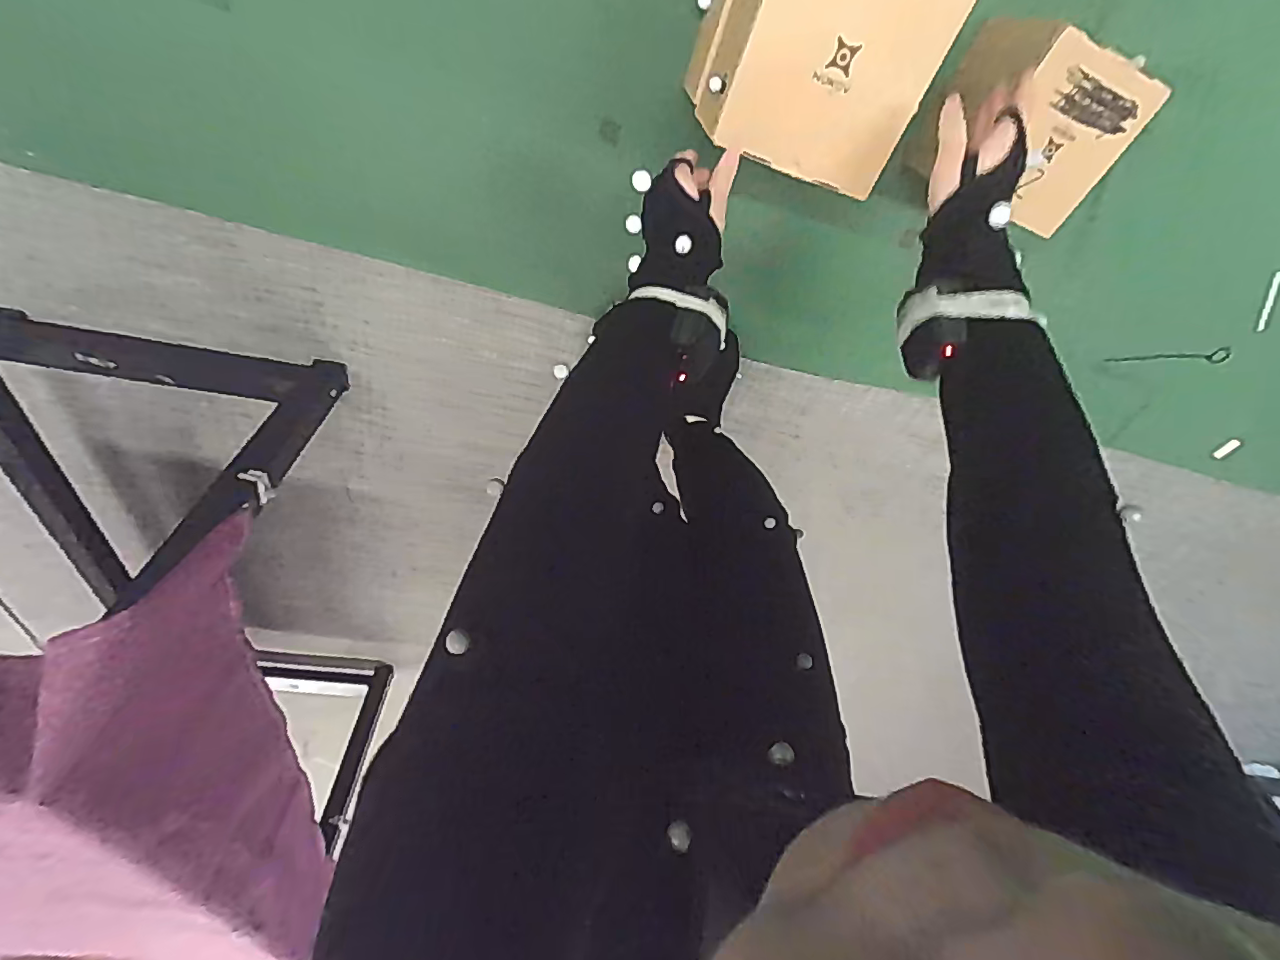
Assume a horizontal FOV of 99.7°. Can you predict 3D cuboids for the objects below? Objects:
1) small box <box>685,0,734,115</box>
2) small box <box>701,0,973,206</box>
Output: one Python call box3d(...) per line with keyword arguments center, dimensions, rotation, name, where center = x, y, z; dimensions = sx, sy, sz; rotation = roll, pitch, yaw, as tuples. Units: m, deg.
box3d(center=(0.164, -0.513, 0.643), dimensions=(0.179, 0.176, 0.168), rotation=(14, 130, -11), name="small box")
box3d(center=(0.166, -0.403, 0.523), dimensions=(0.168, 0.176, 0.179), rotation=(13, 130, -12), name="small box")
